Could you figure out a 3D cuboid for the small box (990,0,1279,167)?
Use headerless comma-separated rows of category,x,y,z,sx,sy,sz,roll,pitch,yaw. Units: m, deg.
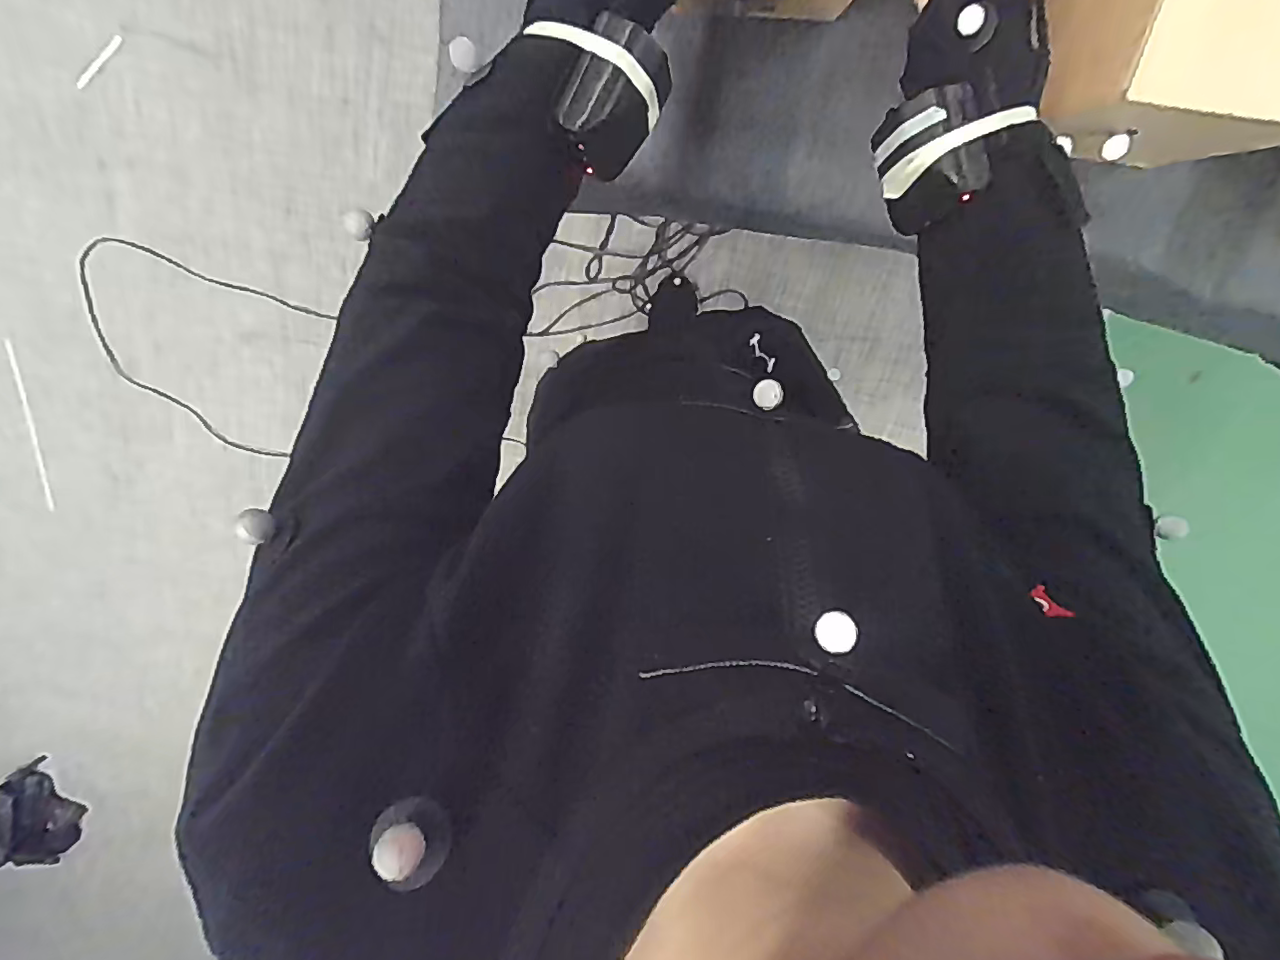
small box,0.395,-0.341,0.388,0.168,0.176,0.179,6,112,-2
